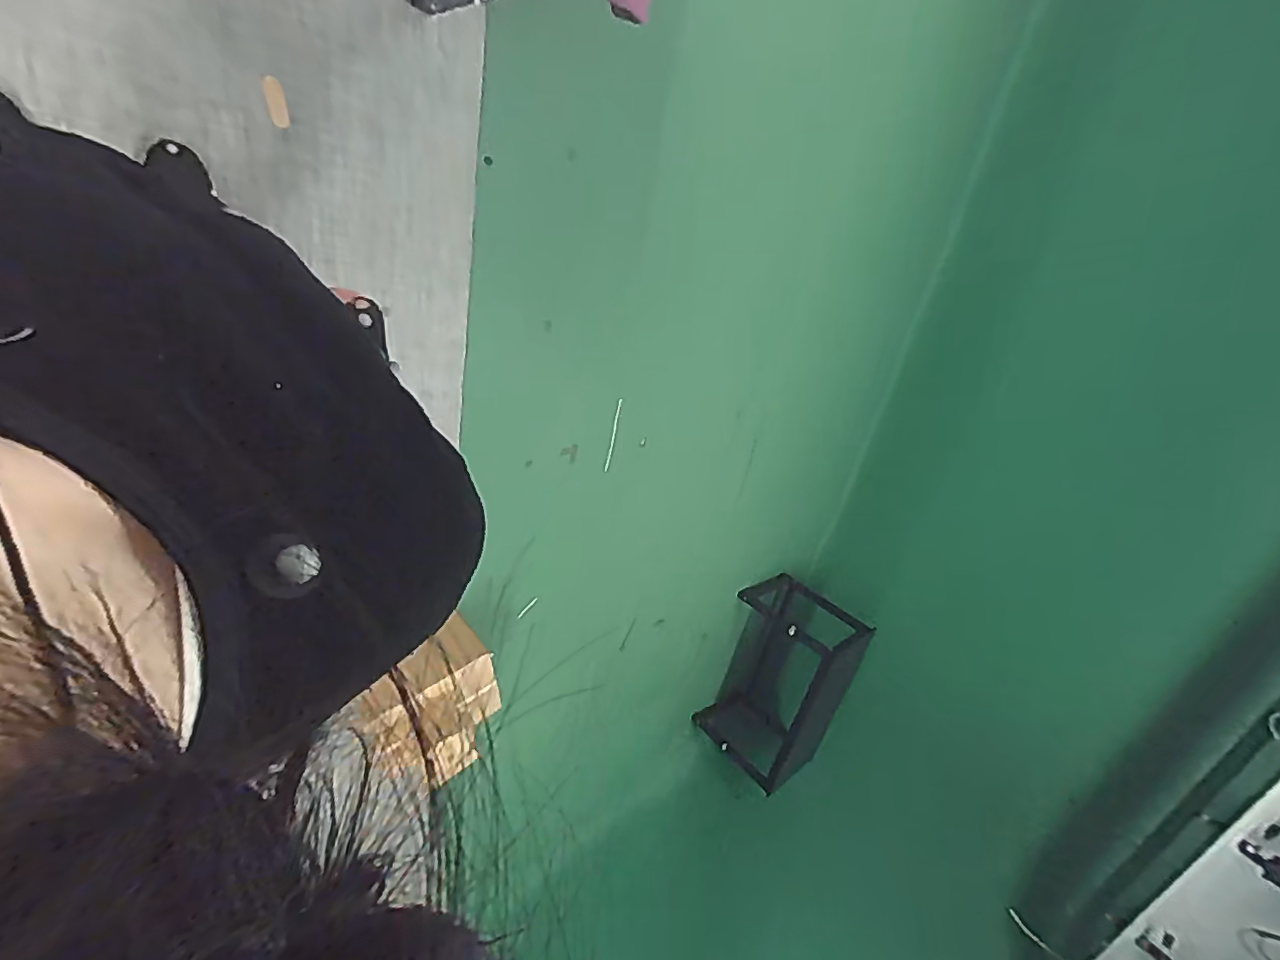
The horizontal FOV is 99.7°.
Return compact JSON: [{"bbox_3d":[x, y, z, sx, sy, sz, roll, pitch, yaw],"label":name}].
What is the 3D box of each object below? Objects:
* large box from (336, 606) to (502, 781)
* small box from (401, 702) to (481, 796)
[{"bbox_3d":[-0.749,0.716,1.863,0.408,0.320,0.320,-27,133,-34],"label":"large box"},{"bbox_3d":[-0.619,0.822,1.678,0.168,0.176,0.179,-25,130,-34],"label":"small box"}]
